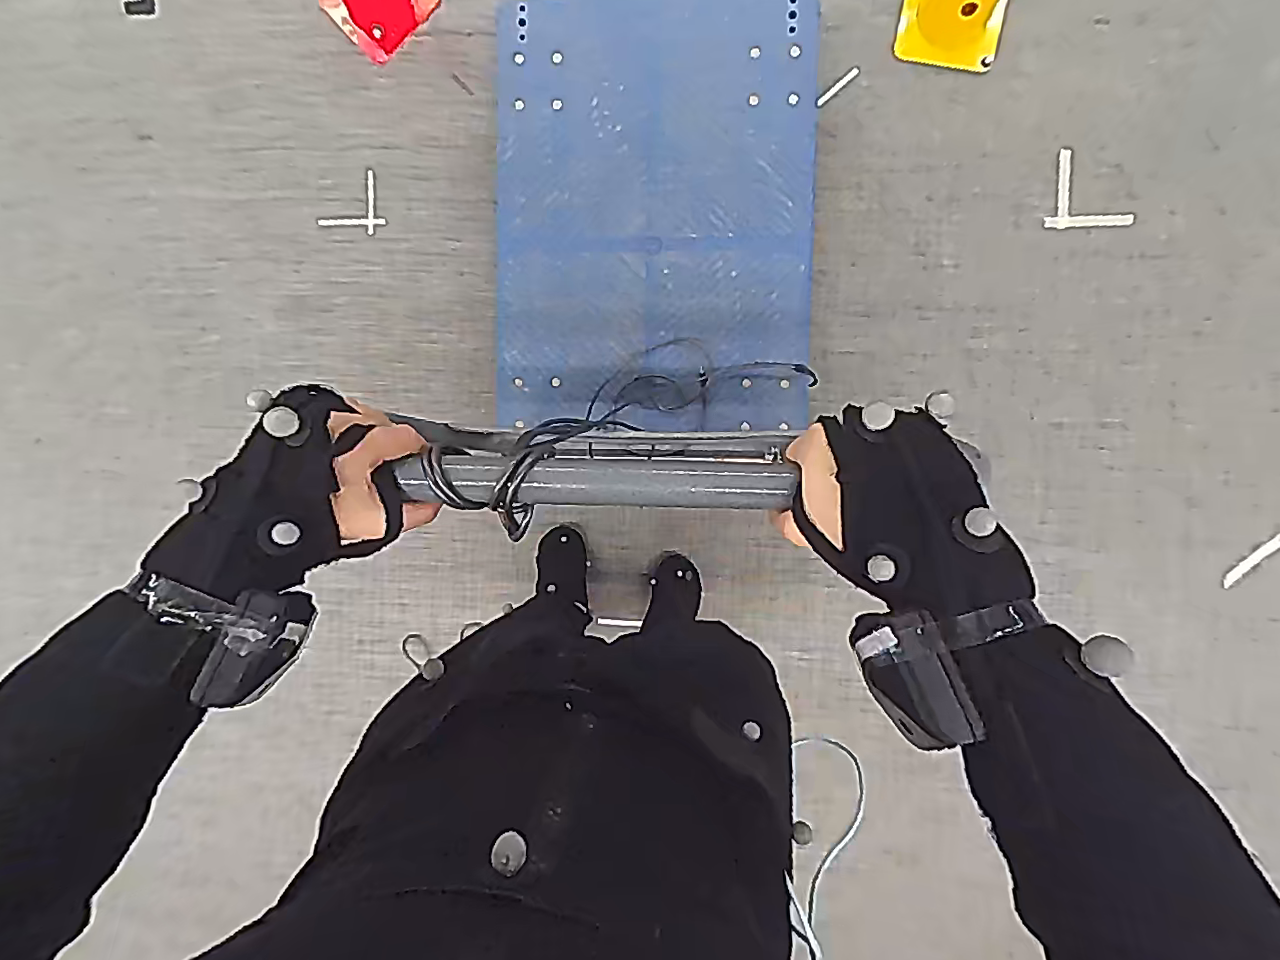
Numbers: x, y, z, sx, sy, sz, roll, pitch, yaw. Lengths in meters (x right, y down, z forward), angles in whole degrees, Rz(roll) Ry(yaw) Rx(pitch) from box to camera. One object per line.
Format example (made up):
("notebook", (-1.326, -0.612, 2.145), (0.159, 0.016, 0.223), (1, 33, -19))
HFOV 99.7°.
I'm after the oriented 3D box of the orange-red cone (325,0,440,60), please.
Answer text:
("orange-red cone", (-0.554, -1.015, 0.978), (0.199, 0.360, 0.198), (-42, 91, 3))
